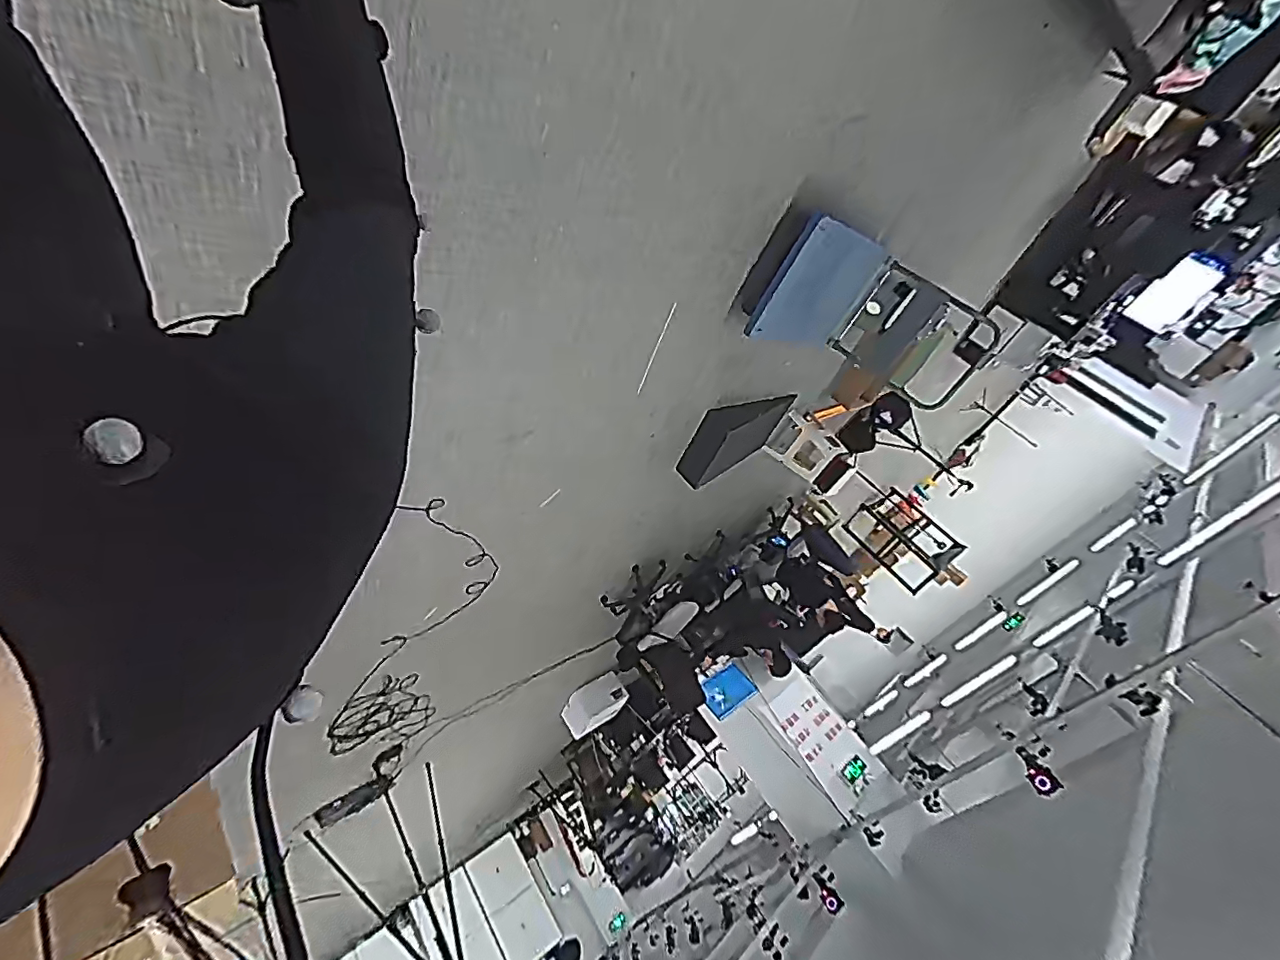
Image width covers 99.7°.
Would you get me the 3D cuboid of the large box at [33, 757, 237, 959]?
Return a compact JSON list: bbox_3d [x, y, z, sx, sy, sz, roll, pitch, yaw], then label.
[{"bbox_3d":[-1.264,0.993,1.381,0.320,0.320,0.408,-12,143,-44],"label":"large box"}]
